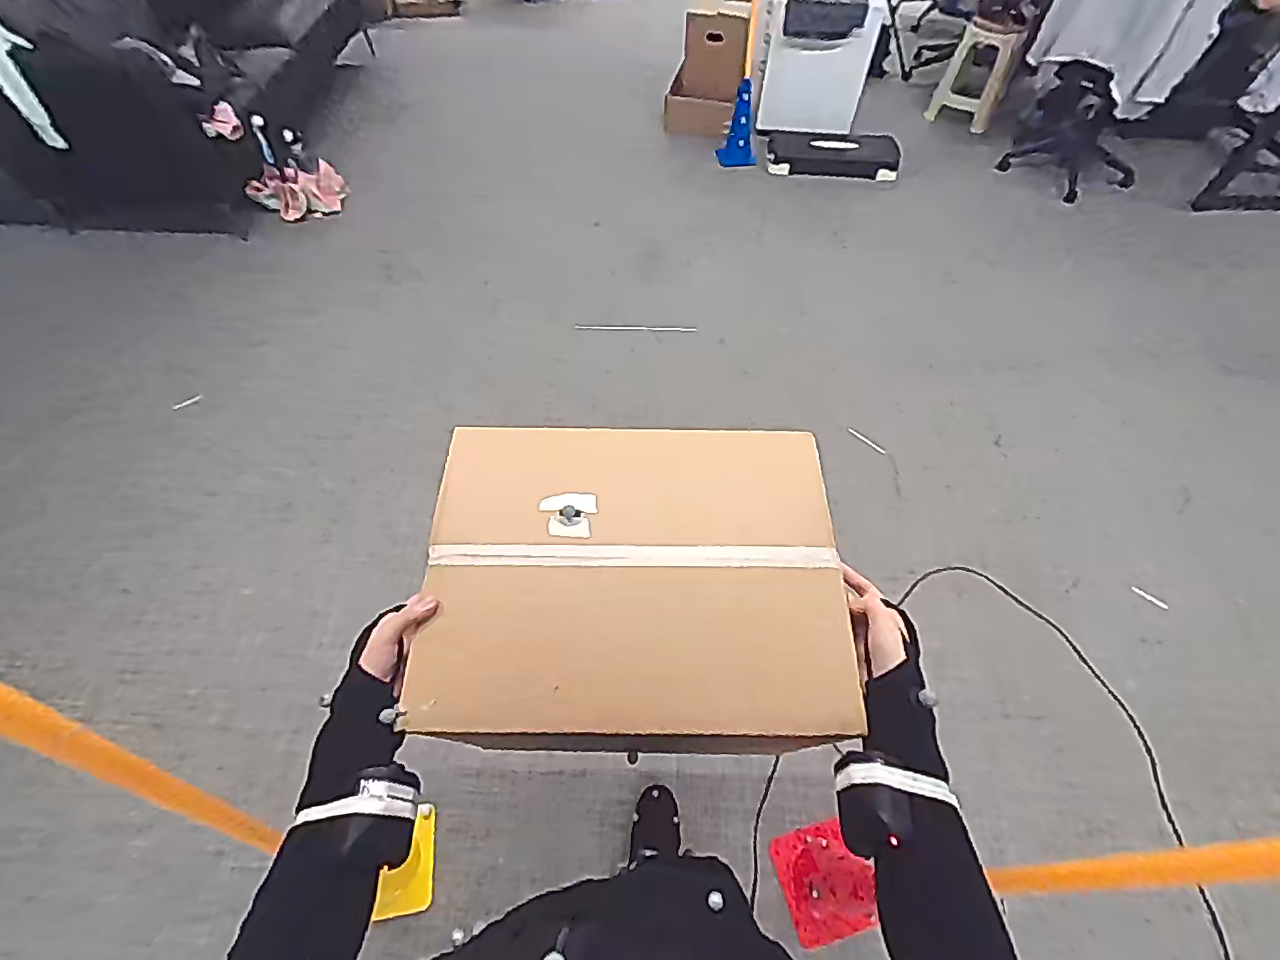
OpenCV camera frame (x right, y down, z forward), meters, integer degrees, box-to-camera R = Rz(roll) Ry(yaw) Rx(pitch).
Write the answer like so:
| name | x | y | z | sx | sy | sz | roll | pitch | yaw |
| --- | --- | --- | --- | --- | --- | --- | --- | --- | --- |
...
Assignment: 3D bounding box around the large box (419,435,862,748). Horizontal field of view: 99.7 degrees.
| name | x | y | z | sx | sy | sz | roll | pitch | yaw |
| --- | --- | --- | --- | --- | --- | --- | --- | --- | --- |
| large box | 0.001 | 0.158 | 0.681 | 0.408 | 0.320 | 0.320 | 0 | 60 | 0 |
